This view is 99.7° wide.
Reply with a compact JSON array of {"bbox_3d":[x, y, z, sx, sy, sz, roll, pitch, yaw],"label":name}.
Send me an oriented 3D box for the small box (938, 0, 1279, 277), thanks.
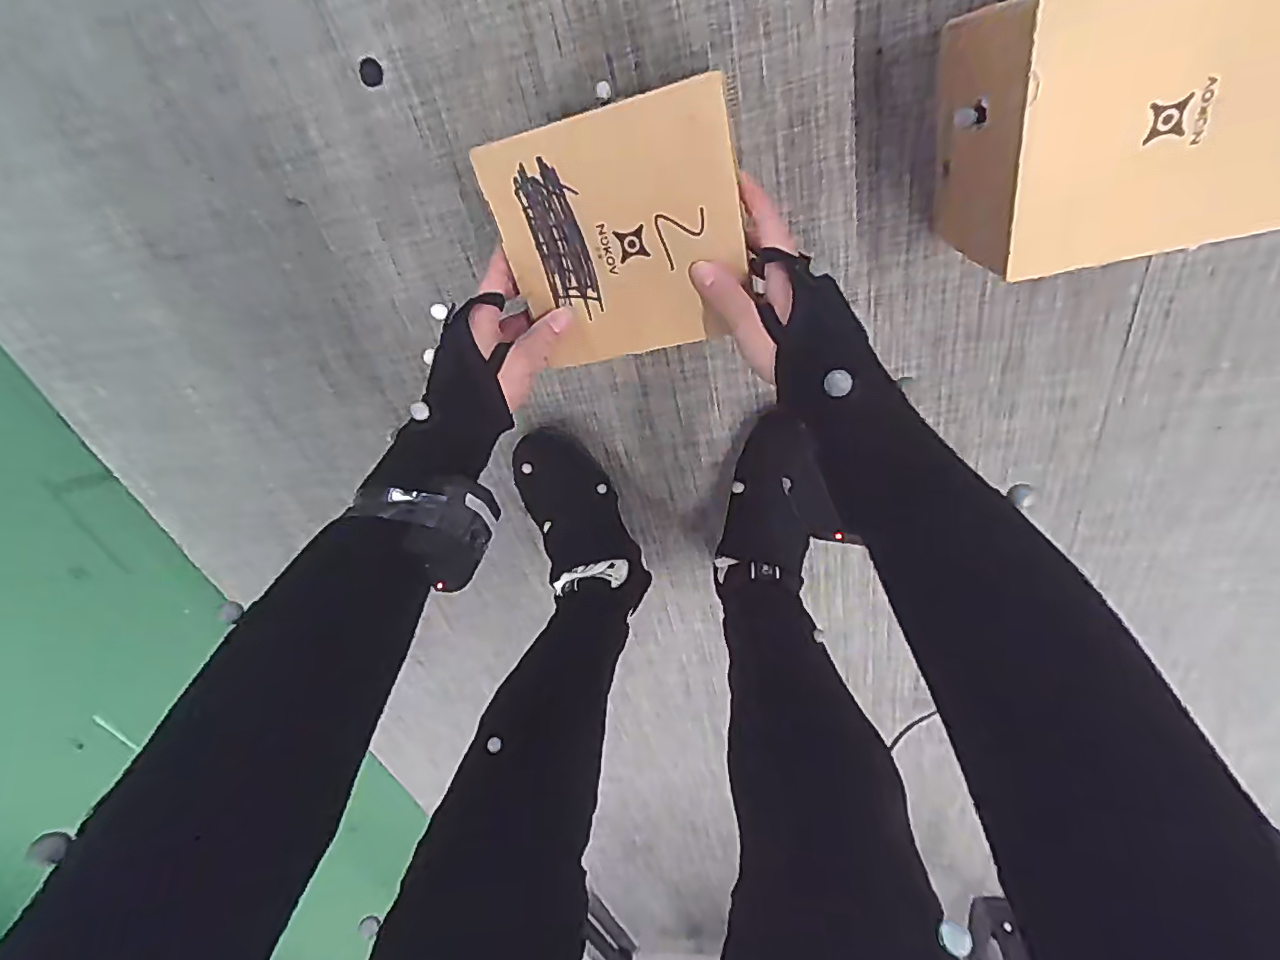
[{"bbox_3d":[0.338,-0.266,0.395,0.179,0.176,0.168,-9,122,13],"label":"small box"}]
